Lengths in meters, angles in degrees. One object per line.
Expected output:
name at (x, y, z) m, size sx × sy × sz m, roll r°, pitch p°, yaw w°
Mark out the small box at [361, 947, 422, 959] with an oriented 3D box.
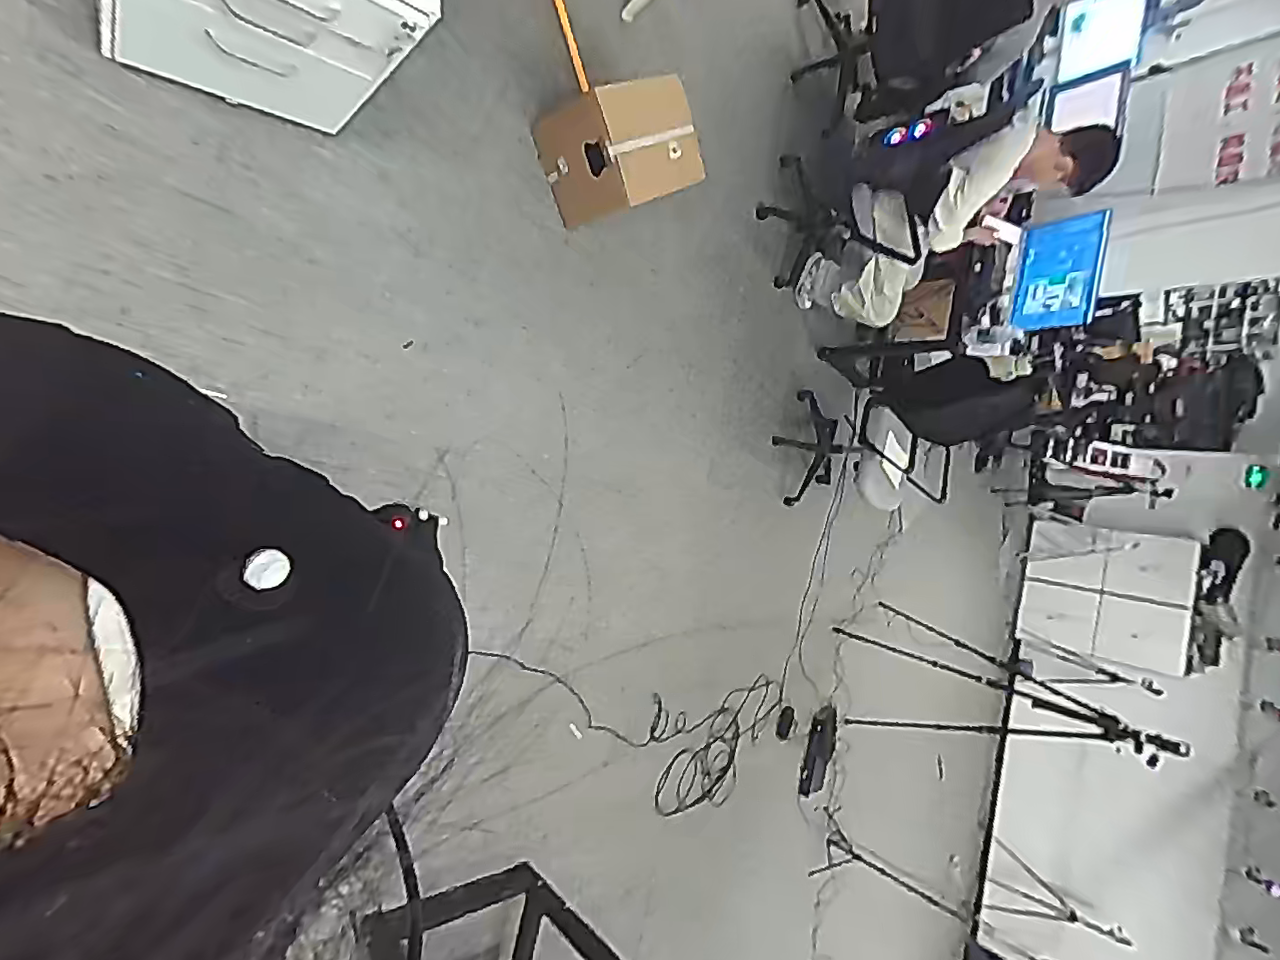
small box at (-0.718, 1.465, 1.525) m, size 0.168 × 0.176 × 0.179 m, roll 35°, pitch 69°, yaw -42°
